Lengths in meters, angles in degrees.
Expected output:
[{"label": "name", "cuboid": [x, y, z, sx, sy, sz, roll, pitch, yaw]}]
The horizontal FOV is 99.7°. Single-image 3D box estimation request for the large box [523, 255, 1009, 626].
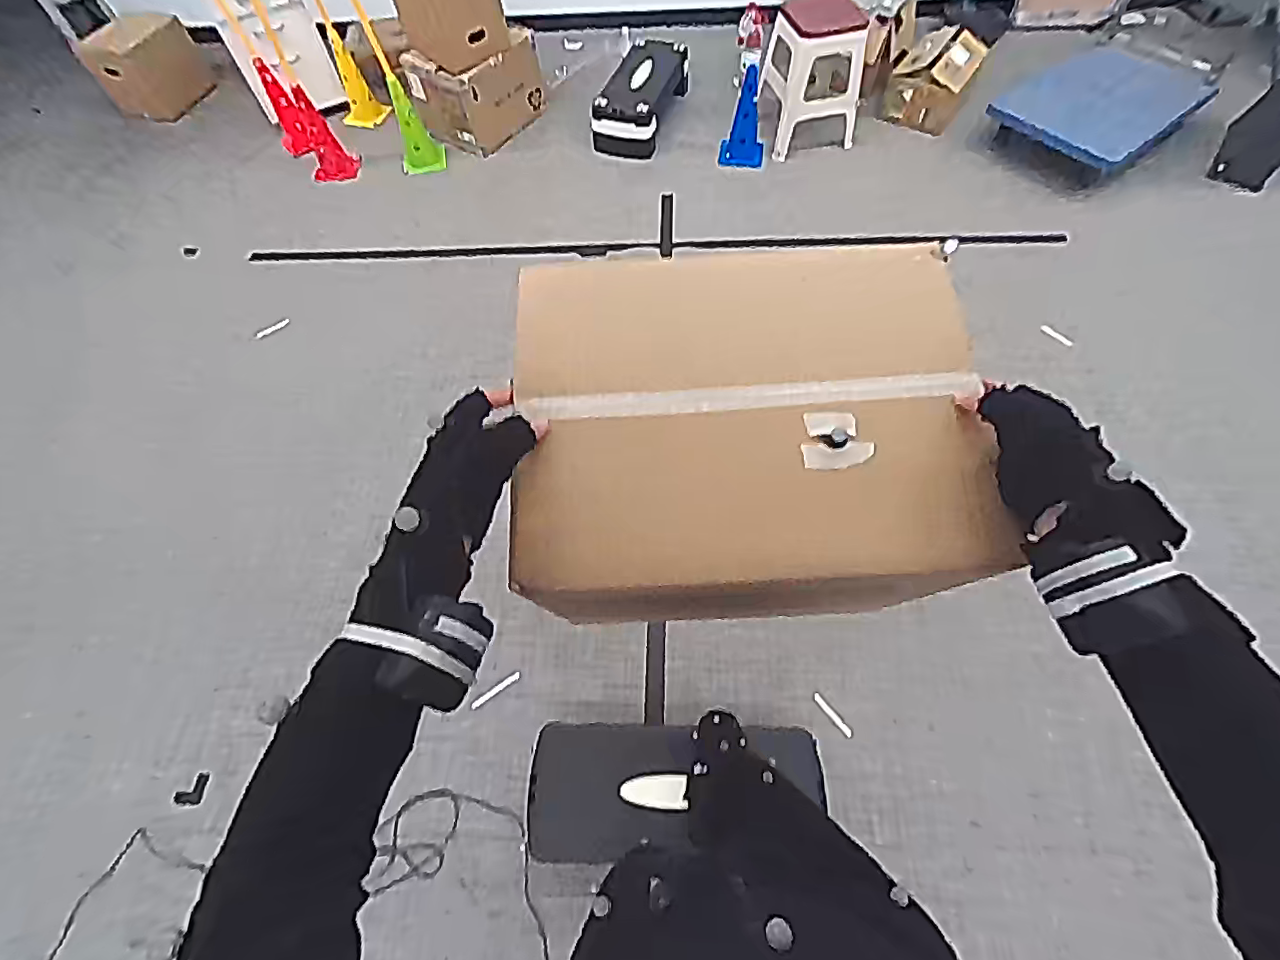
[{"label": "large box", "cuboid": [0.094, -0.016, 0.625, 0.408, 0.320, 0.320, -4, 71, 0]}]
